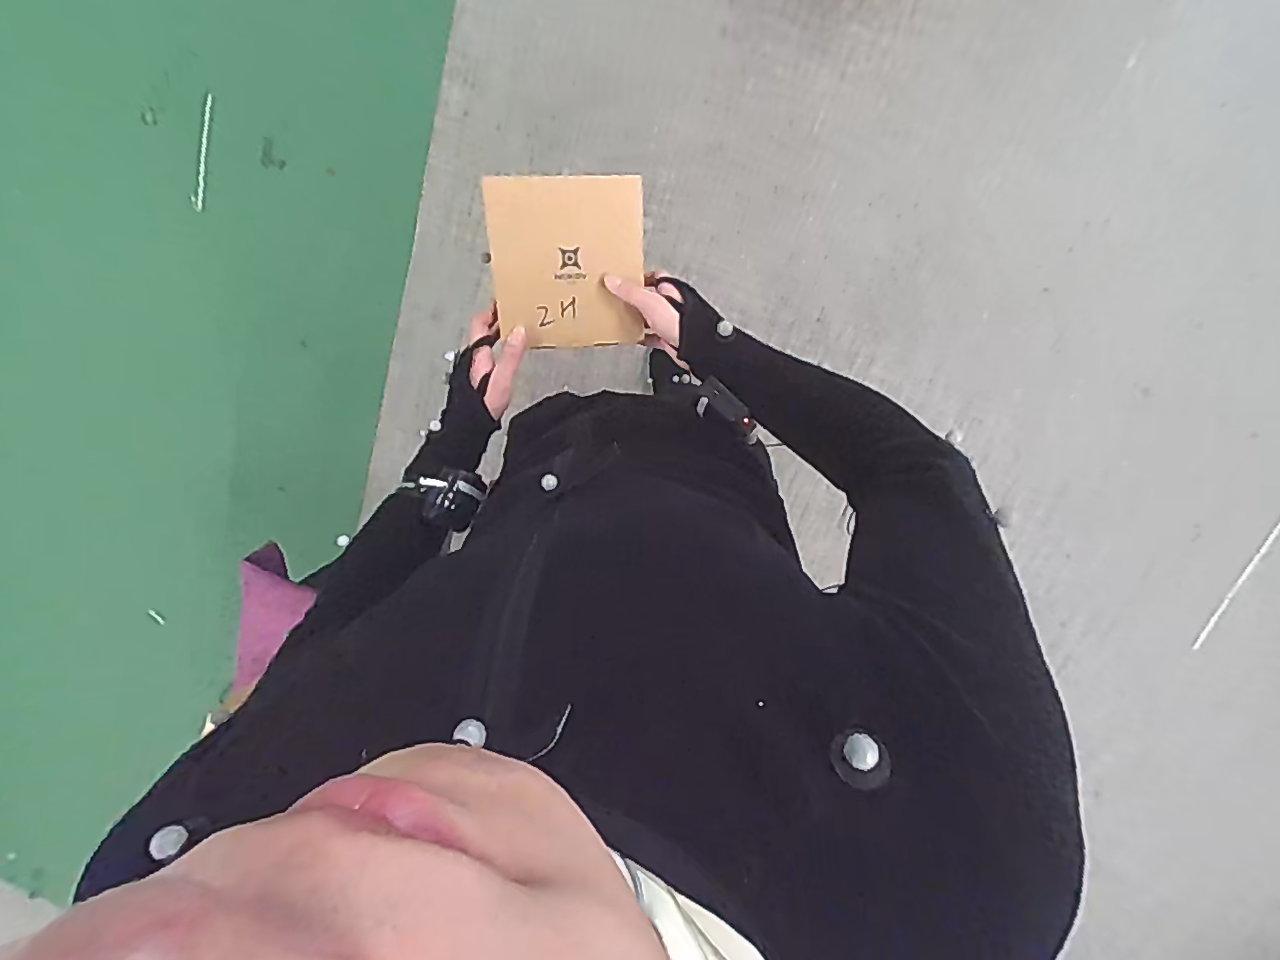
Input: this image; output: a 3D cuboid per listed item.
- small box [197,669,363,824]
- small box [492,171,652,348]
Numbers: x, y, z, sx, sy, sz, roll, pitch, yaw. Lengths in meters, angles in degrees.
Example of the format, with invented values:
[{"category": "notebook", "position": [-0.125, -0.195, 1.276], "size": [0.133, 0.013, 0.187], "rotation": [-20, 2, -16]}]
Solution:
[{"category": "small box", "position": [-0.668, 0.488, 1.018], "size": [0.179, 0.176, 0.168], "rotation": [28, 107, -2]}, {"category": "small box", "position": [-0.083, -0.261, 0.653], "size": [0.168, 0.176, 0.179], "rotation": [-3, 114, -8]}]
